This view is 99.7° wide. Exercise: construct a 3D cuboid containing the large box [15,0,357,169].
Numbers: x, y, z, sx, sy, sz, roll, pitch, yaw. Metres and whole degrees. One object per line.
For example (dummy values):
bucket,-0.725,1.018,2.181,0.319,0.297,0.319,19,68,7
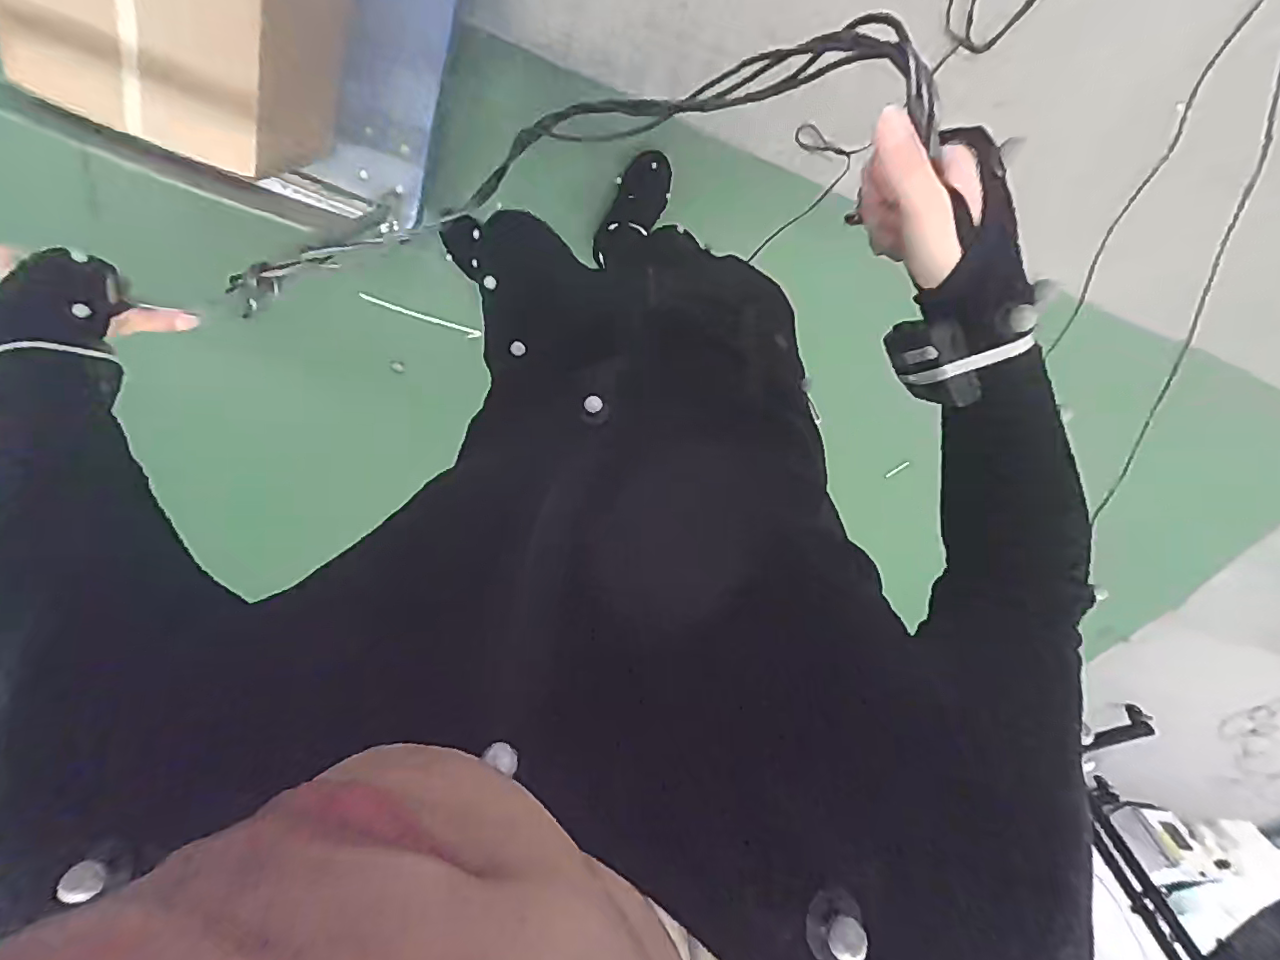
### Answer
large box,-0.649,-0.757,0.816,0.320,0.320,0.408,18,123,-17
